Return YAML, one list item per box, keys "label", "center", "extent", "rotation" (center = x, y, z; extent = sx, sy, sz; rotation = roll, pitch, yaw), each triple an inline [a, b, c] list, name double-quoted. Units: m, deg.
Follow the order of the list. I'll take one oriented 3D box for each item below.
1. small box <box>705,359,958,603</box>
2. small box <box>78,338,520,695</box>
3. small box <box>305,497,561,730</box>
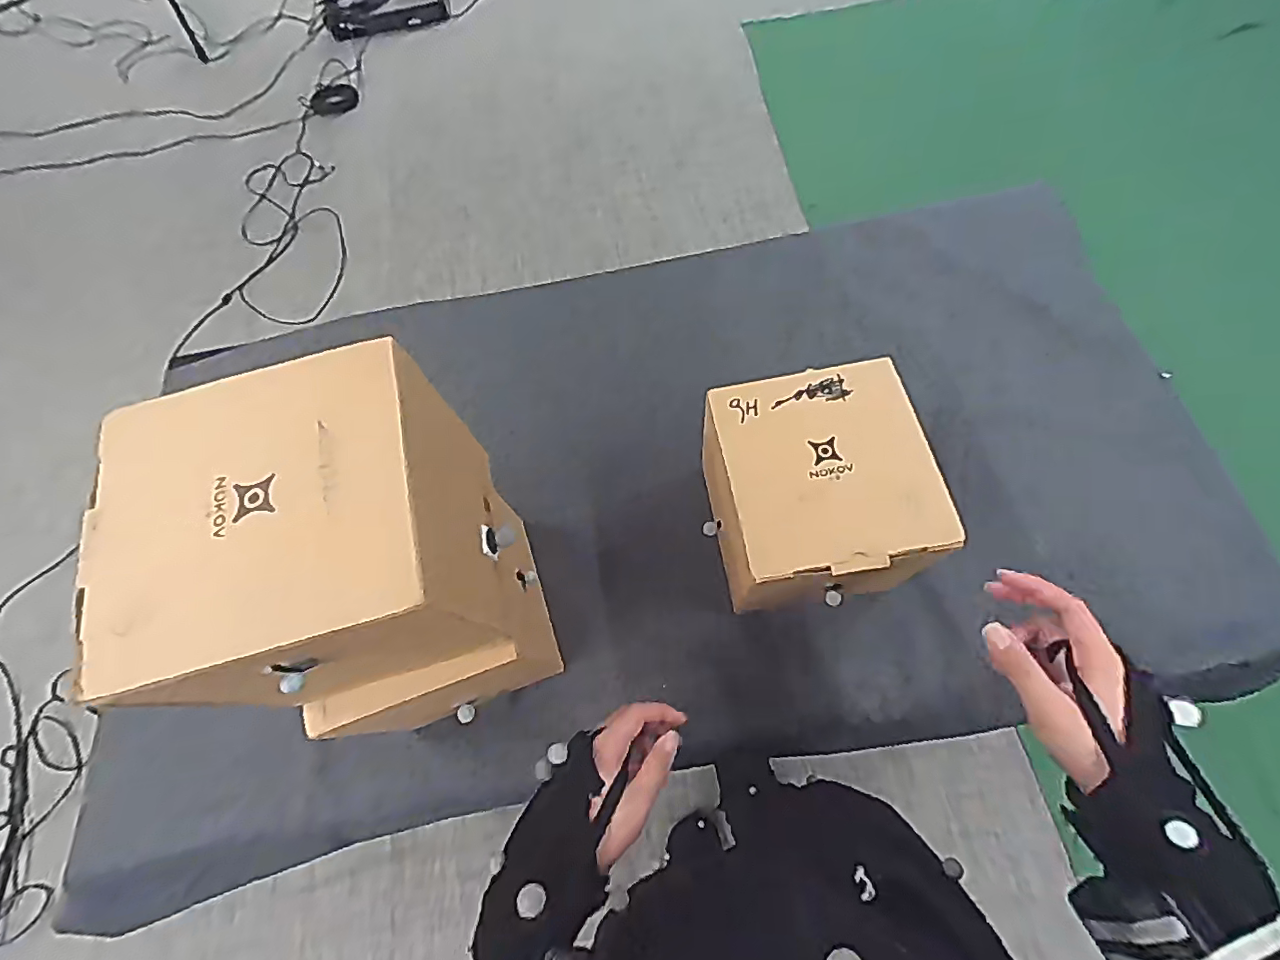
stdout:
- label: "small box"
  center: [0.159, 0.015, 0.519]
  extent: [0.168, 0.176, 0.179]
  rotation: [-11, 68, 1]
- label: "small box"
  center: [-0.198, 0.039, 0.363]
  extent: [0.179, 0.176, 0.168]
  rotation: [-16, 69, -3]
- label: "small box"
  center: [-0.186, 0.116, 0.506]
  extent: [0.168, 0.176, 0.179]
  rotation: [-20, 68, -3]
